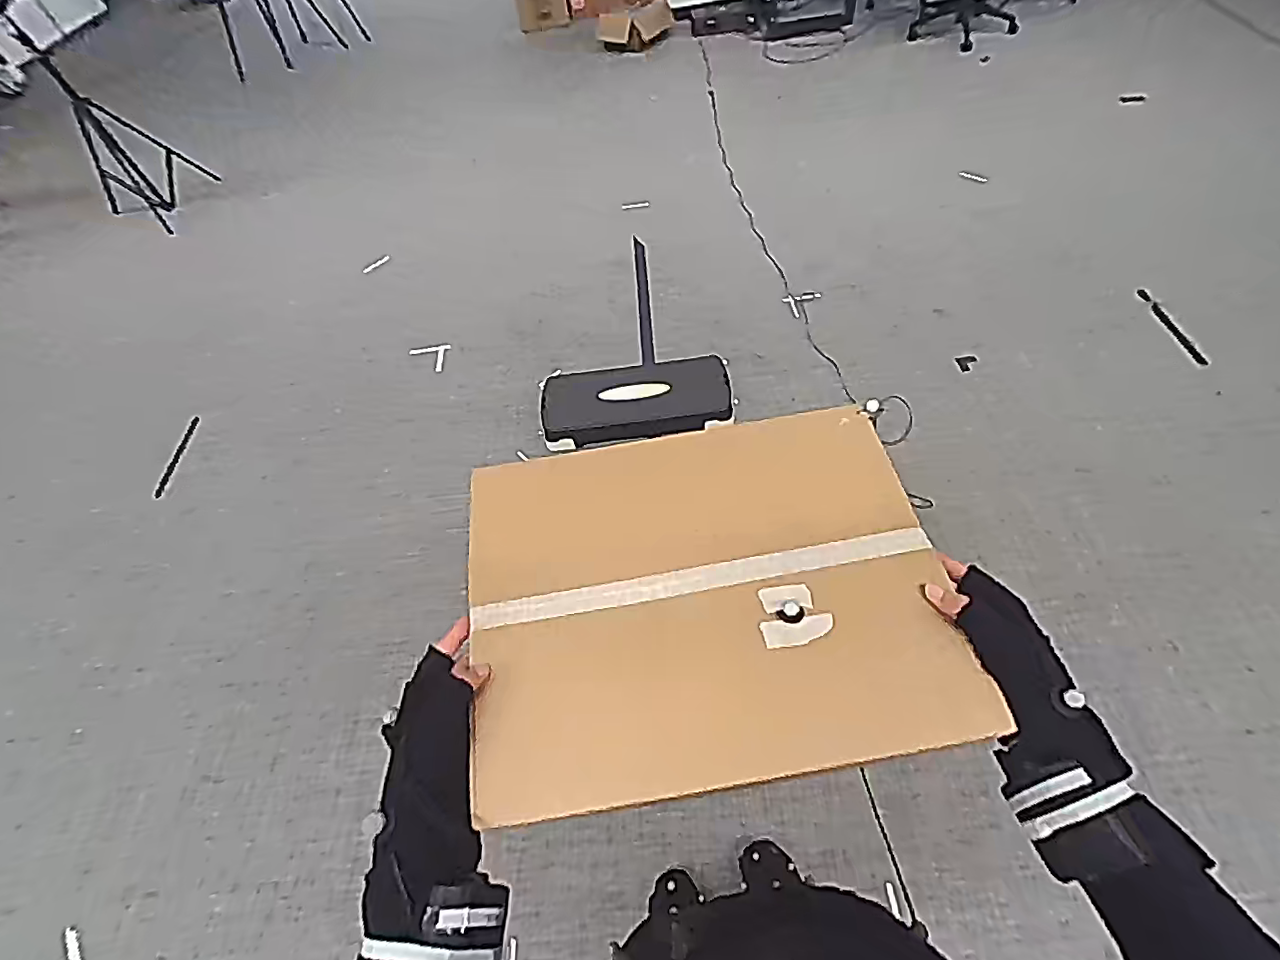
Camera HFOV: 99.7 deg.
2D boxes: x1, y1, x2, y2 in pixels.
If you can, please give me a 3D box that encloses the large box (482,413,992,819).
[{"bbox_3d":[0.064,0.169,0.613,0.408,0.320,0.320,-10,59,-1],"label":"large box"}]
